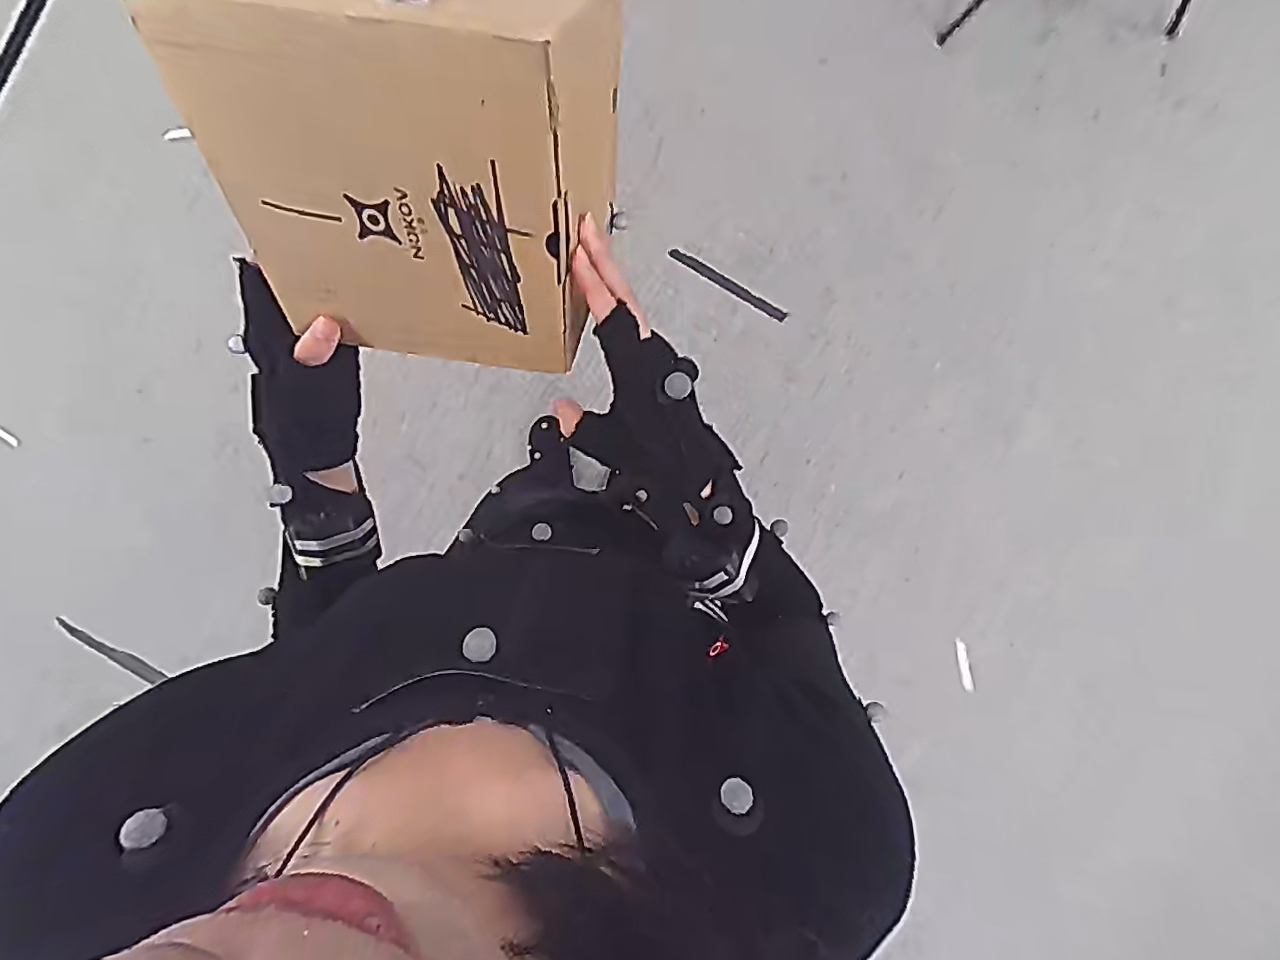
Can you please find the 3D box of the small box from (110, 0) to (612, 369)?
[{"bbox_3d":[-0.114,-0.191,0.313,0.179,0.168,0.176,9,51,2],"label":"small box"}]
